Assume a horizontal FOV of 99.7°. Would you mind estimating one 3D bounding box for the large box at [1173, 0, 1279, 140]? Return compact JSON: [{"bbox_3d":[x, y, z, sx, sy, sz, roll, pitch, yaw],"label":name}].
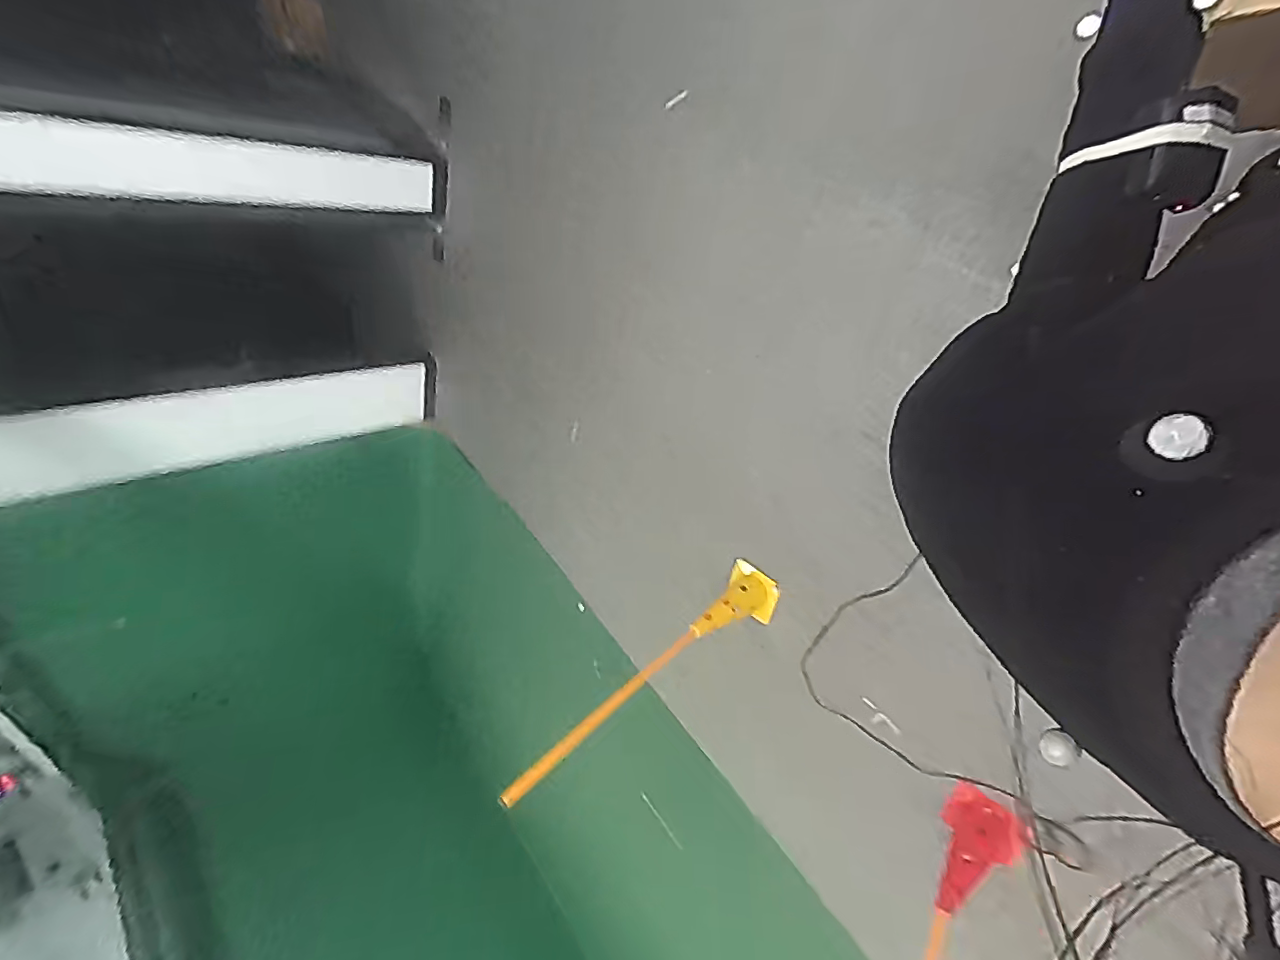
[{"bbox_3d":[0.602,-0.415,0.281,0.408,0.320,0.320,16,113,38],"label":"large box"}]
